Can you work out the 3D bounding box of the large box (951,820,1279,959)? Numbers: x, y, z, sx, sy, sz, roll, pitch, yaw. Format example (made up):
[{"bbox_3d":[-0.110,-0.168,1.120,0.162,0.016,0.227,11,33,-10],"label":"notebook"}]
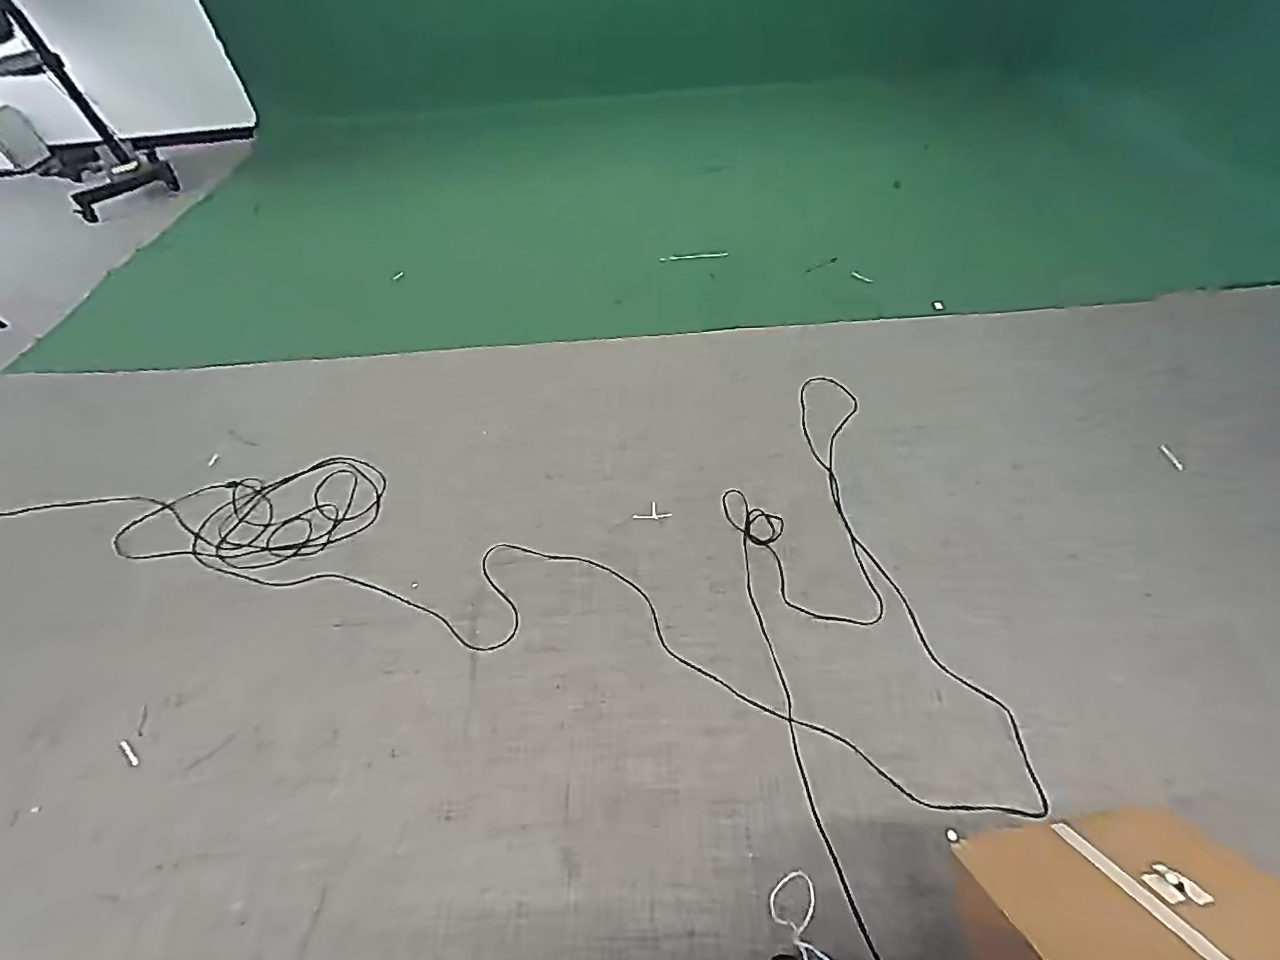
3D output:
[{"bbox_3d":[0.630,0.666,0.589,0.320,0.408,0.320,-9,89,1],"label":"large box"}]
